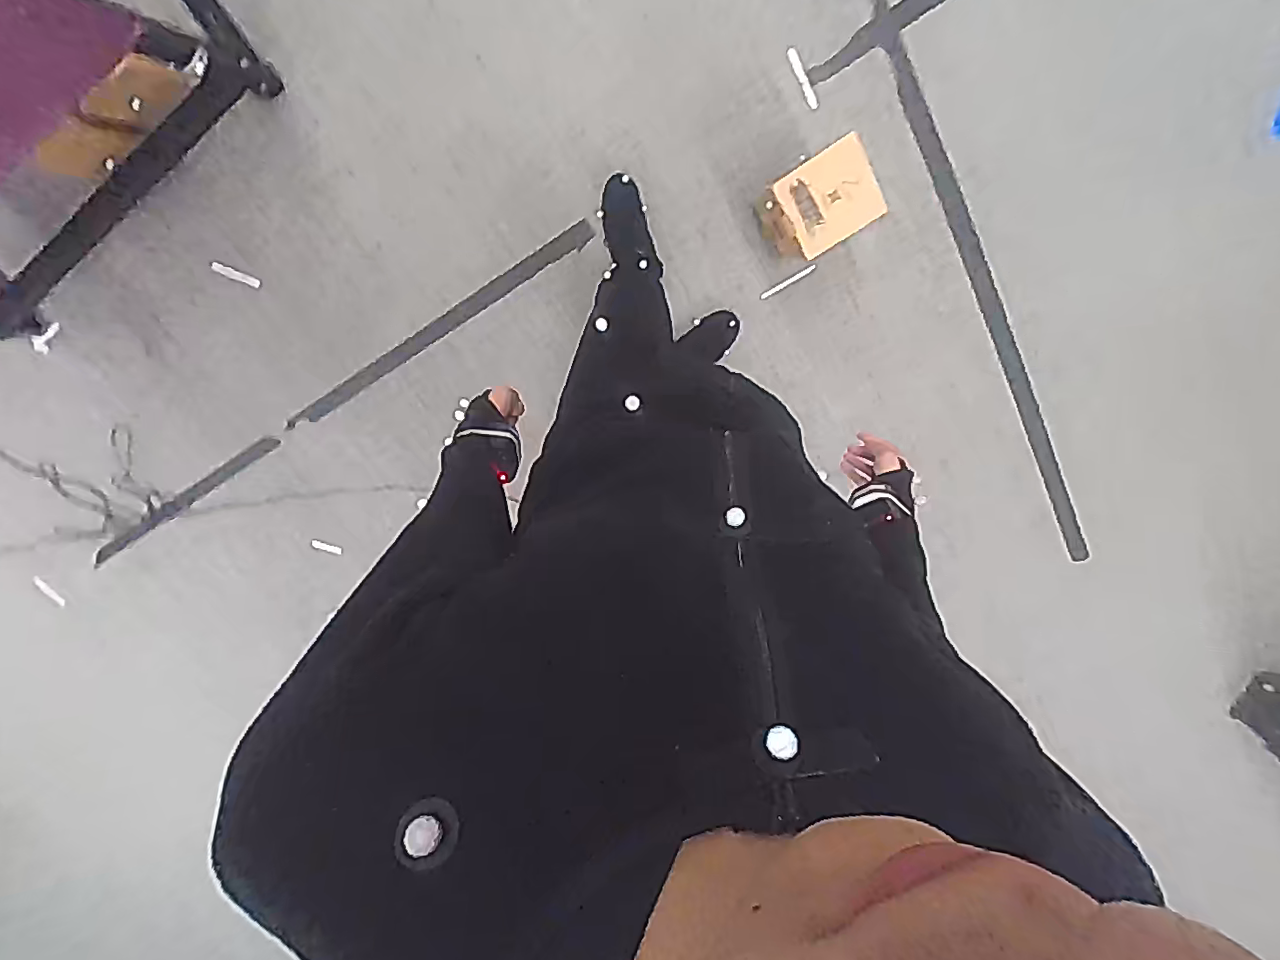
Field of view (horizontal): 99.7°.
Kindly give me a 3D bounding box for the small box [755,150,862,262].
[{"bbox_3d":[0.391,-0.647,1.286,0.179,0.176,0.168,-31,109,18],"label":"small box"}]
